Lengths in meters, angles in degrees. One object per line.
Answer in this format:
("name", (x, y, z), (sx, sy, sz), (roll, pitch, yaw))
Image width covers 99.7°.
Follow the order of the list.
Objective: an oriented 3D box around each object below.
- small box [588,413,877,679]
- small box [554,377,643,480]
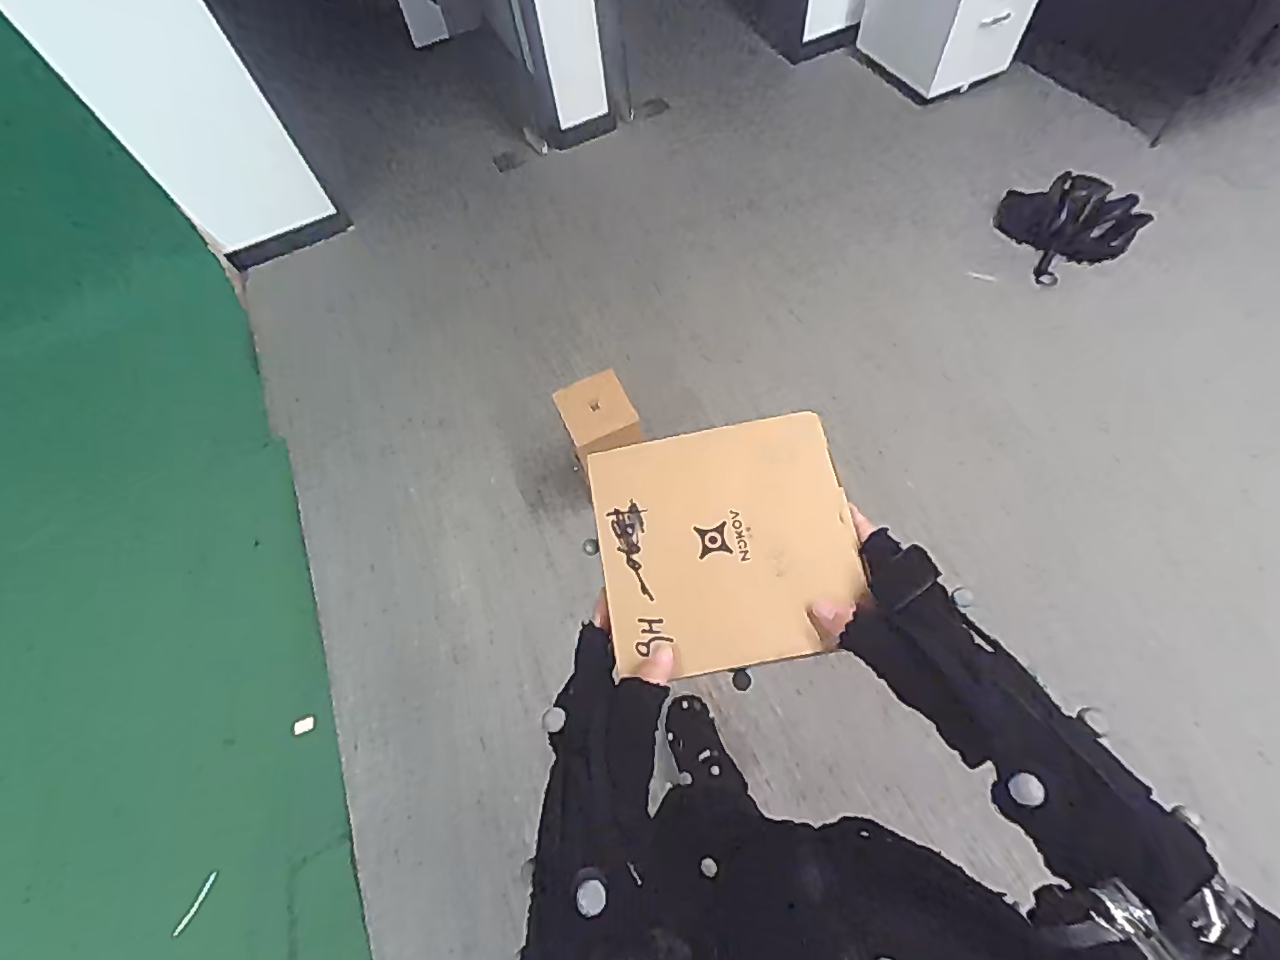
("small box", (0.062, 0.066, 0.451), (0.179, 0.176, 0.168), (-10, 68, 0))
("small box", (-0.098, -0.122, 1.371), (0.168, 0.176, 0.179), (-25, 64, -6))
